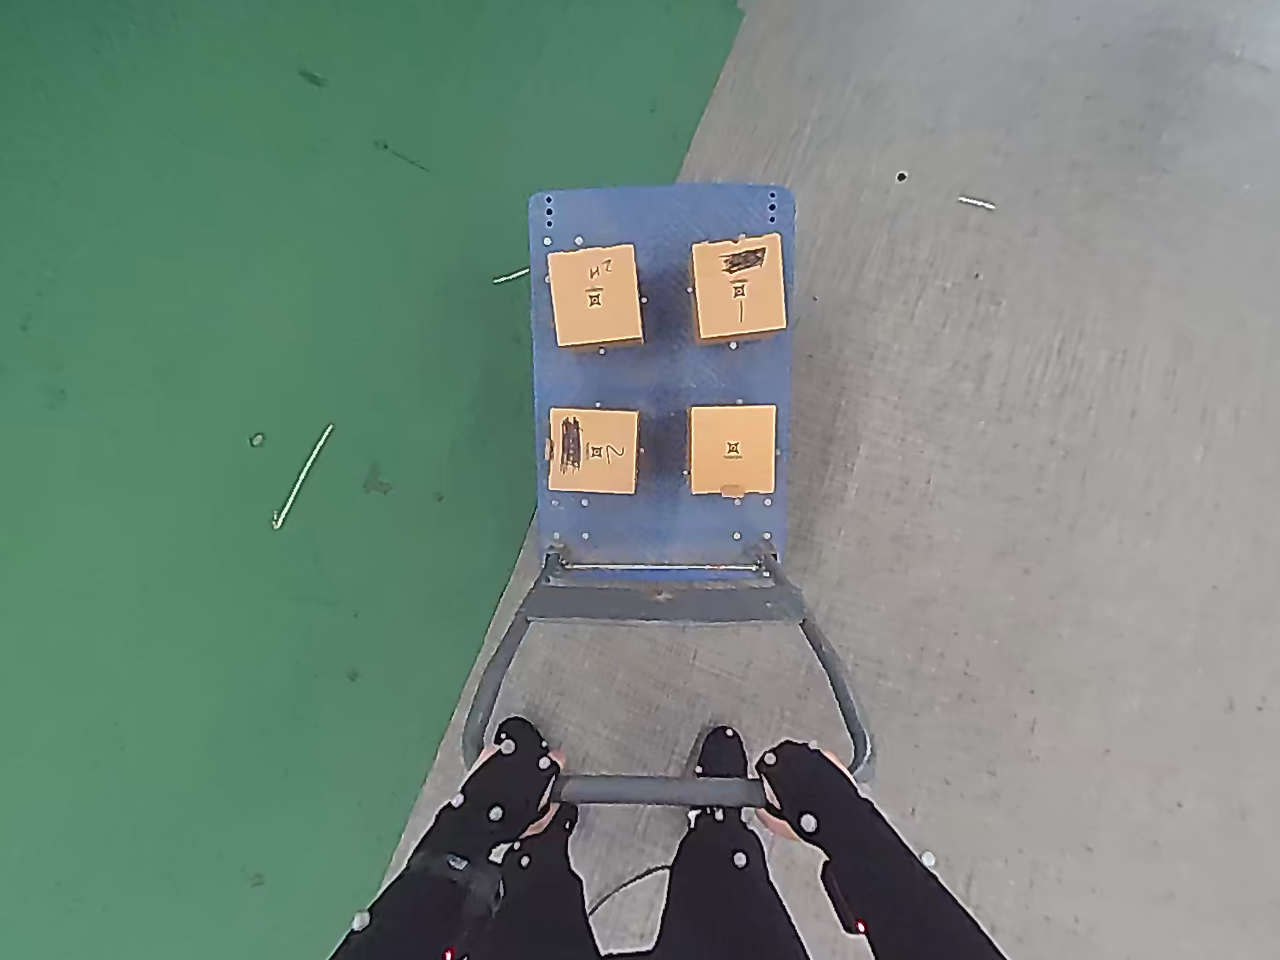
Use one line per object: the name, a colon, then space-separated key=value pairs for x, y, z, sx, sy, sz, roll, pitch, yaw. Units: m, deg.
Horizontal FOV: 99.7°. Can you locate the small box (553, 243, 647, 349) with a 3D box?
small box: x=-0.074 y=-0.364 z=1.103 sx=0.168 sy=0.176 sz=0.179 roll=-5 pitch=98 yaw=2

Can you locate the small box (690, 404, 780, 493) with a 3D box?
small box: x=0.192 y=-0.072 z=1.137 sx=0.168 sy=0.176 sz=0.179 roll=0 pitch=99 yaw=2

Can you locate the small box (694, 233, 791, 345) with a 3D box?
small box: x=0.199 y=-0.376 z=1.092 sx=0.168 sy=0.176 sz=0.179 roll=-5 pitch=99 yaw=3
